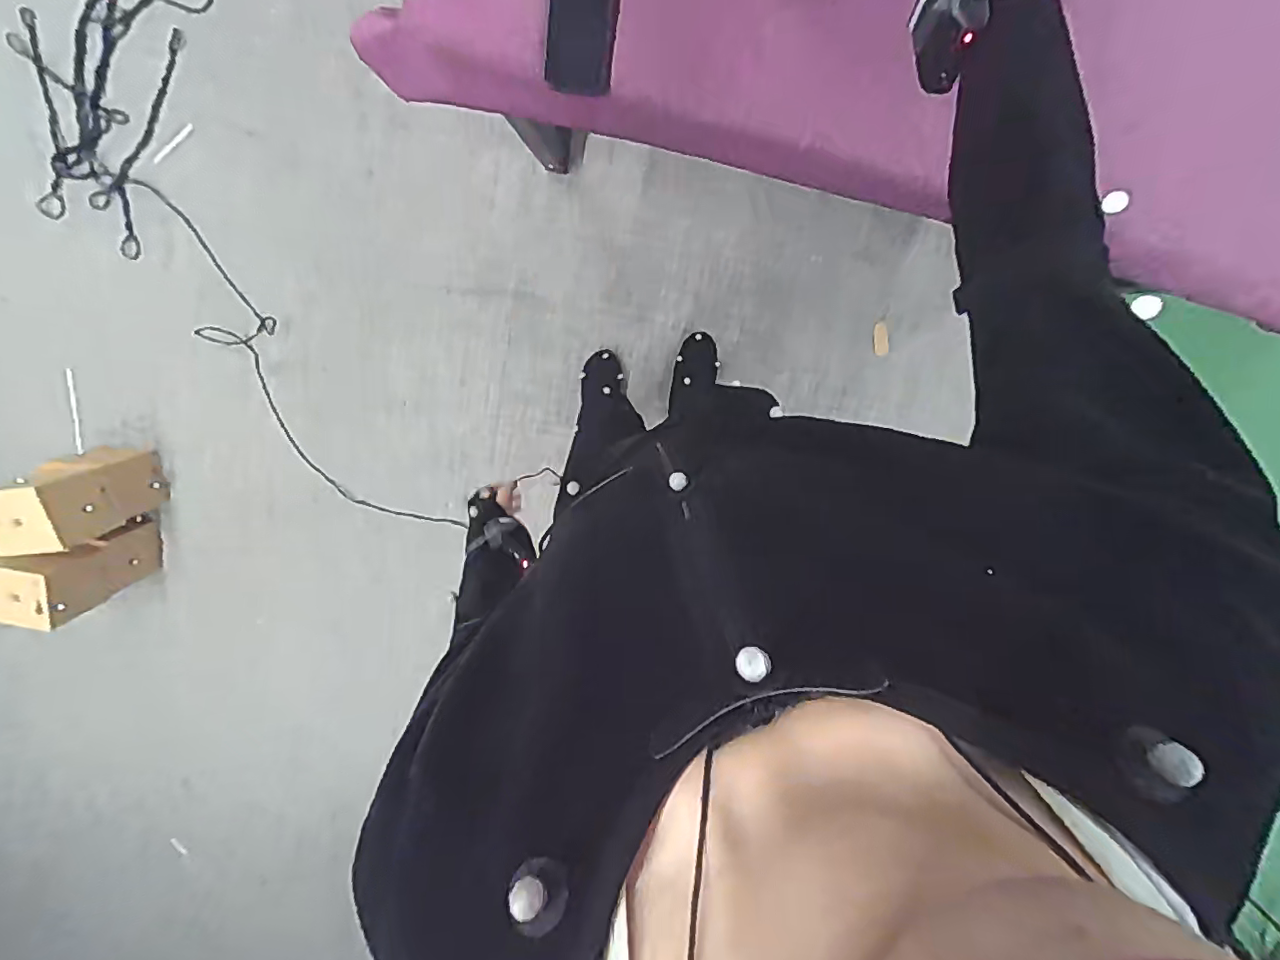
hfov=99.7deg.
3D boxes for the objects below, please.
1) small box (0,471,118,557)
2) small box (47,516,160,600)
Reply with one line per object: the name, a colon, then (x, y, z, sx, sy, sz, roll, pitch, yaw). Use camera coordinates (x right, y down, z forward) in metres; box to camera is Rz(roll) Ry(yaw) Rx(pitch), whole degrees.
small box: (-1.471, 0.079, 1.350, 0.179, 0.176, 0.168, -4, 108, 4)
small box: (-1.545, 0.216, 1.565, 0.168, 0.176, 0.179, 13, 108, -1)
